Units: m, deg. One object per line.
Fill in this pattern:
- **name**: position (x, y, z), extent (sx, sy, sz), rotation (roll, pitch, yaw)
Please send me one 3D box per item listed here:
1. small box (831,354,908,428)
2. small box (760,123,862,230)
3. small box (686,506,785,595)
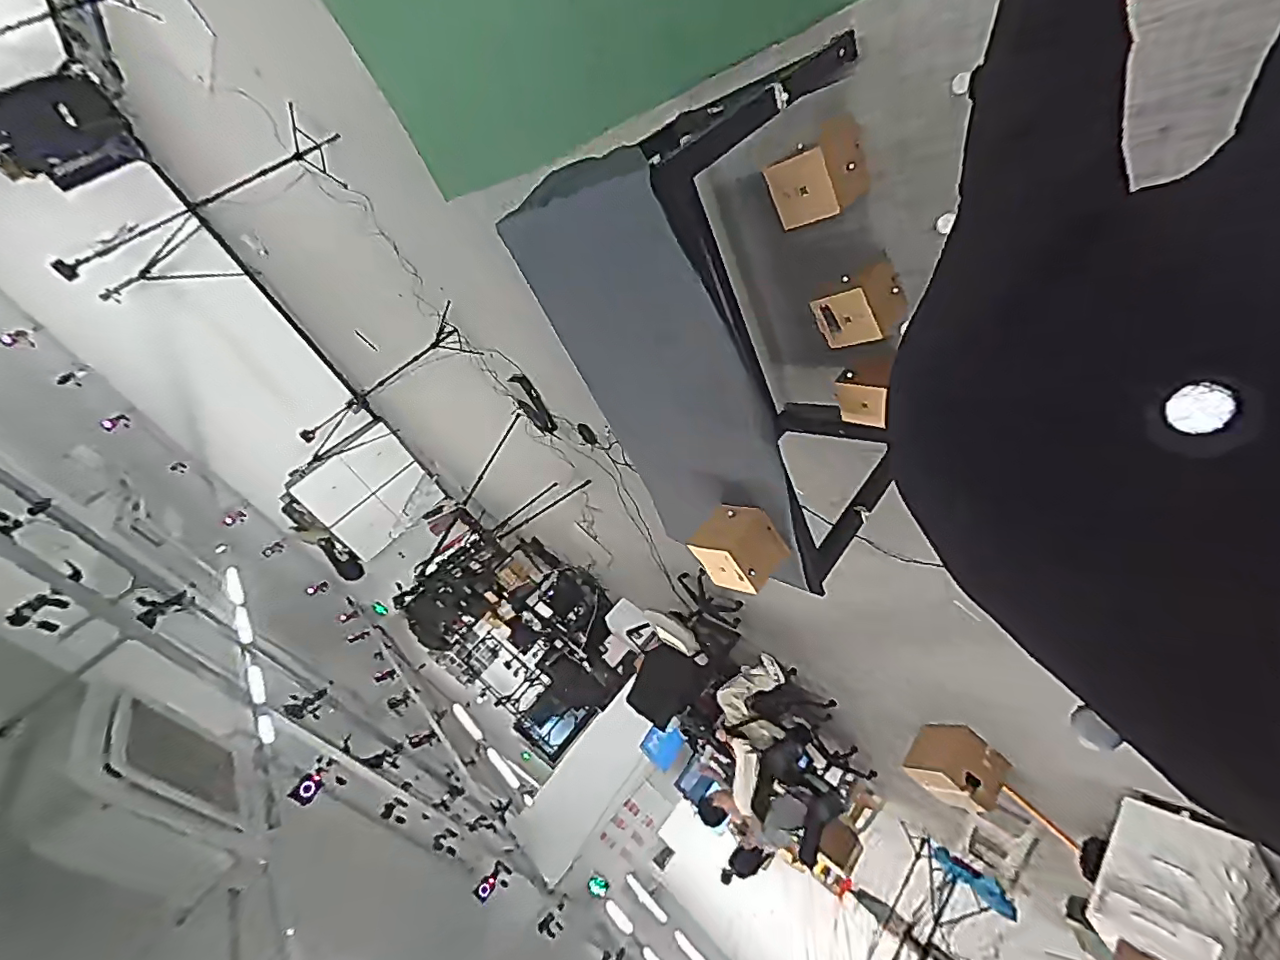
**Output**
- **small box**: position (0.757, -0.295, 1.764), extent (0.179, 0.176, 0.168), rotation (20, 148, 45)
- **small box**: position (0.453, -0.787, 1.407), extent (0.179, 0.176, 0.168), rotation (11, 140, 52)
- **small box**: position (0.270, 0.189, 1.511), extent (0.168, 0.176, 0.179), rotation (53, 155, -22)
